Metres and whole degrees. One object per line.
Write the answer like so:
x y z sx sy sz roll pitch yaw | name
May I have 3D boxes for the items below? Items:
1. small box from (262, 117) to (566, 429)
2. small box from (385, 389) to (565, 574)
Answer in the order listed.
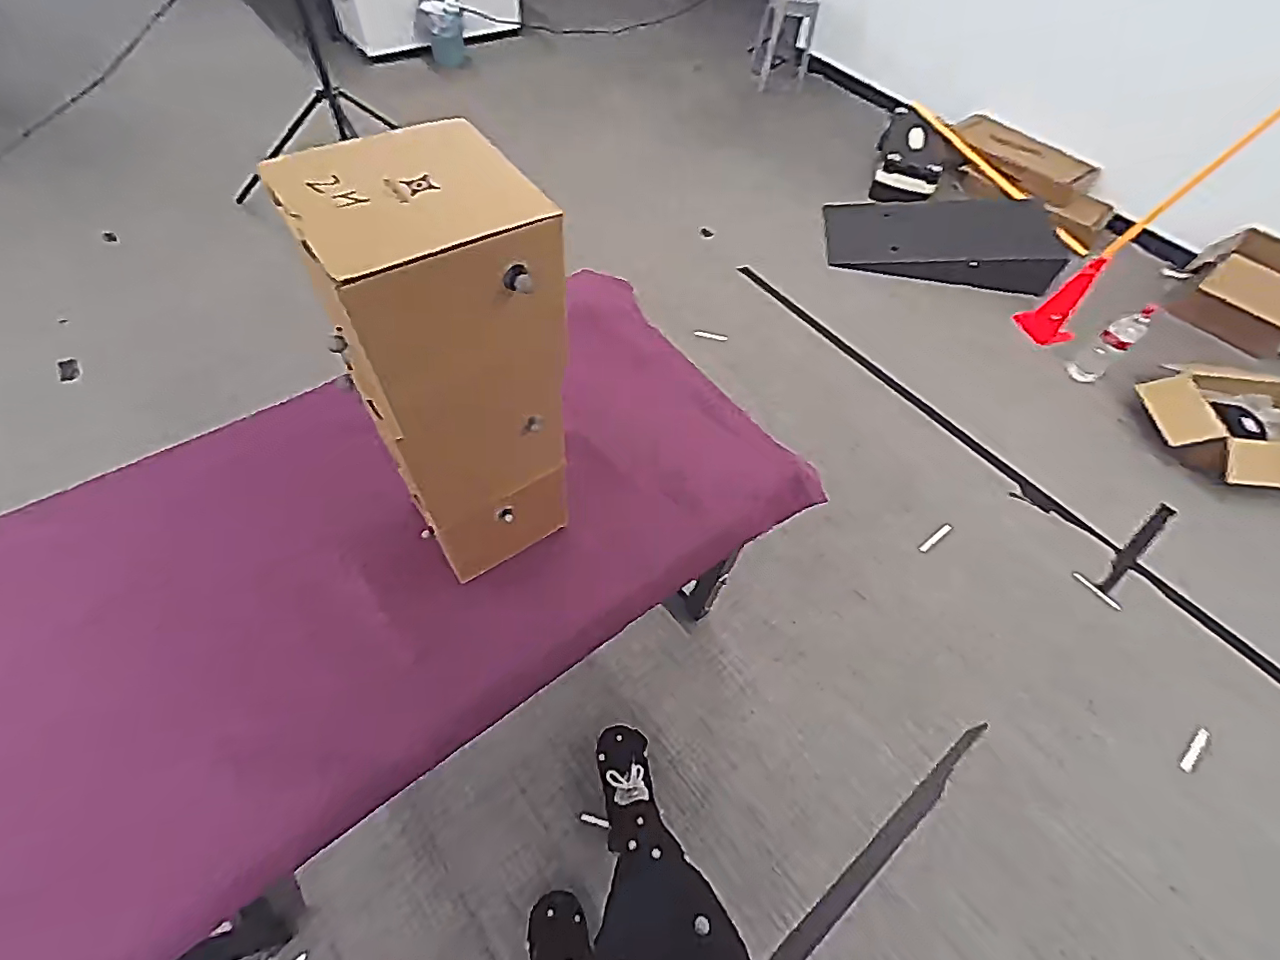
-0.180 -0.179 0.479 0.179 0.176 0.168 -30 64 -22 | small box
-0.216 0.003 0.753 0.179 0.176 0.168 -30 65 -23 | small box
